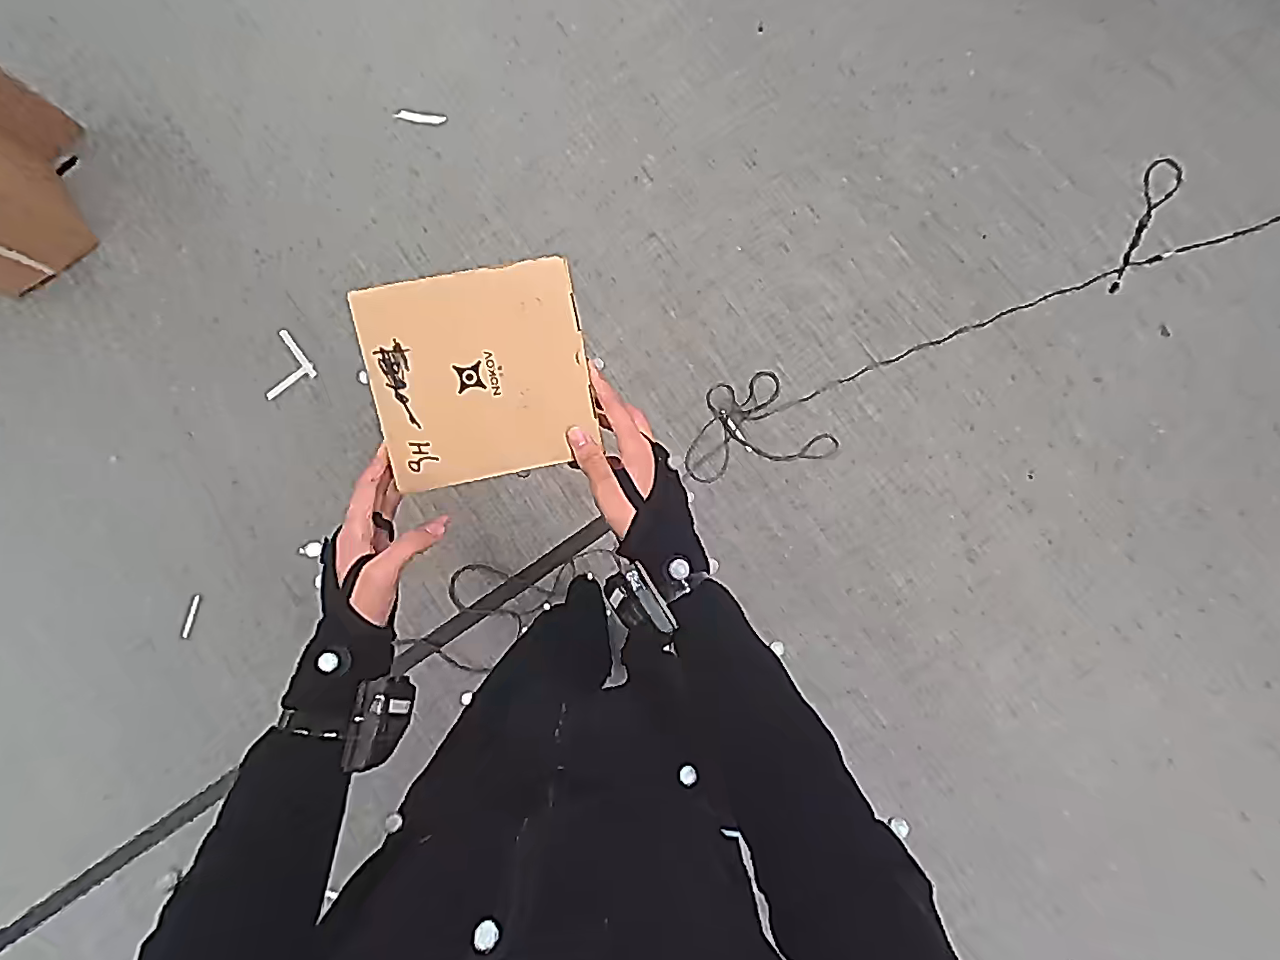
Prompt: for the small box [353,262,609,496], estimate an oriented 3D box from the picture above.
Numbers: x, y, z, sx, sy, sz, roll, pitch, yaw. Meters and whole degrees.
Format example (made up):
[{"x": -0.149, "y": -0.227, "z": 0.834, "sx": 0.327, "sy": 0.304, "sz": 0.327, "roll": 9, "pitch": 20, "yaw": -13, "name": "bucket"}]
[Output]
[{"x": -0.133, "y": -0.092, "z": 0.514, "sx": 0.179, "sy": 0.176, "sz": 0.168, "roll": -11, "pitch": 98, "yaw": -4, "name": "small box"}]
